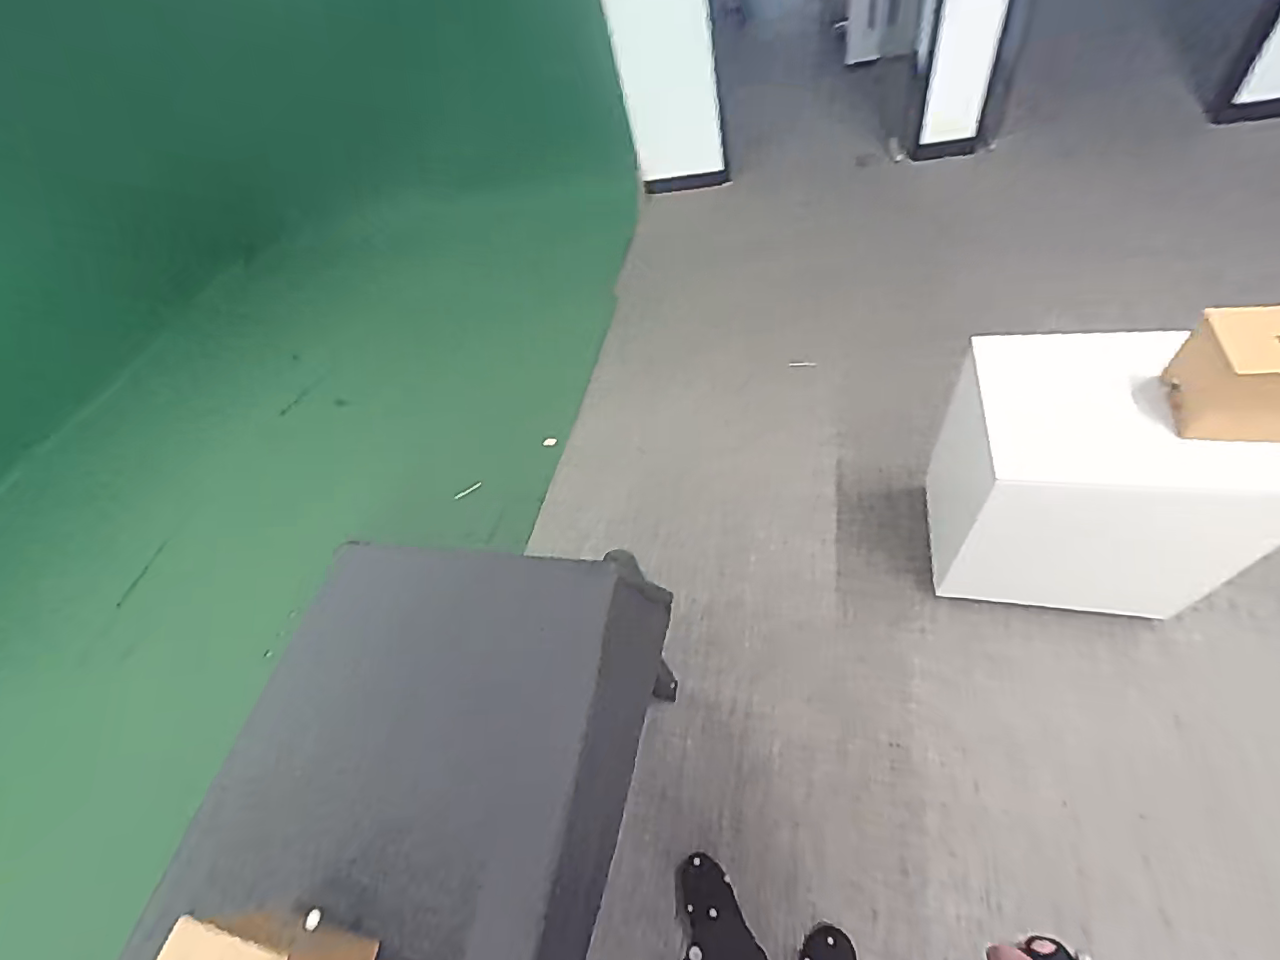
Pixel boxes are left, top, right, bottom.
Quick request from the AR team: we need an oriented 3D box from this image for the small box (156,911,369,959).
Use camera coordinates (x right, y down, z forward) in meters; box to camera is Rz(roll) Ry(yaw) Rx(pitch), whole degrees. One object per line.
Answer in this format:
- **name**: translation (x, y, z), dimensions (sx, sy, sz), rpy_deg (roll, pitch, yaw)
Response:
- **small box**: translation (-0.451, 0.621, 0.614), dimensions (0.168, 0.176, 0.179), rpy_deg (2, 55, 17)

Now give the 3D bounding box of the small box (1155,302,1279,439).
- **small box**: translation (1.056, -0.184, 0.932), dimensions (0.179, 0.176, 0.168), rpy_deg (3, 55, 20)
